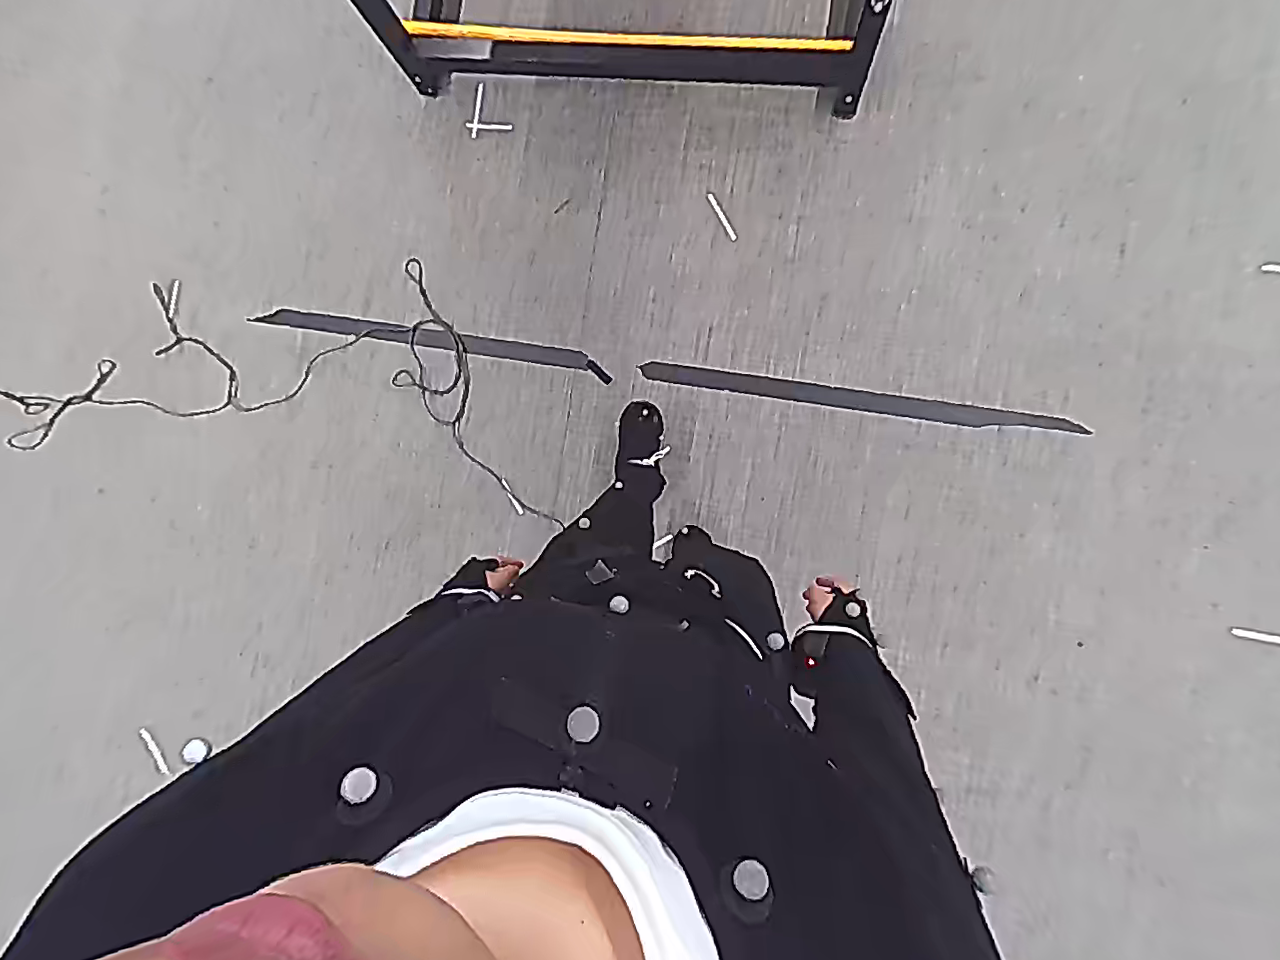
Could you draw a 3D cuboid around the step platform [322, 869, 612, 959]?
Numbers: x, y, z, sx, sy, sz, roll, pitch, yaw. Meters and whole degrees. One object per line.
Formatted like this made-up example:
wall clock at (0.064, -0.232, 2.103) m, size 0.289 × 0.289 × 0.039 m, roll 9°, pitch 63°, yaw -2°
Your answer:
step platform at (-0.420, 1.214, 1.298) m, size 0.684 × 0.204 × 0.286 m, roll 9°, pitch 89°, yaw 8°
